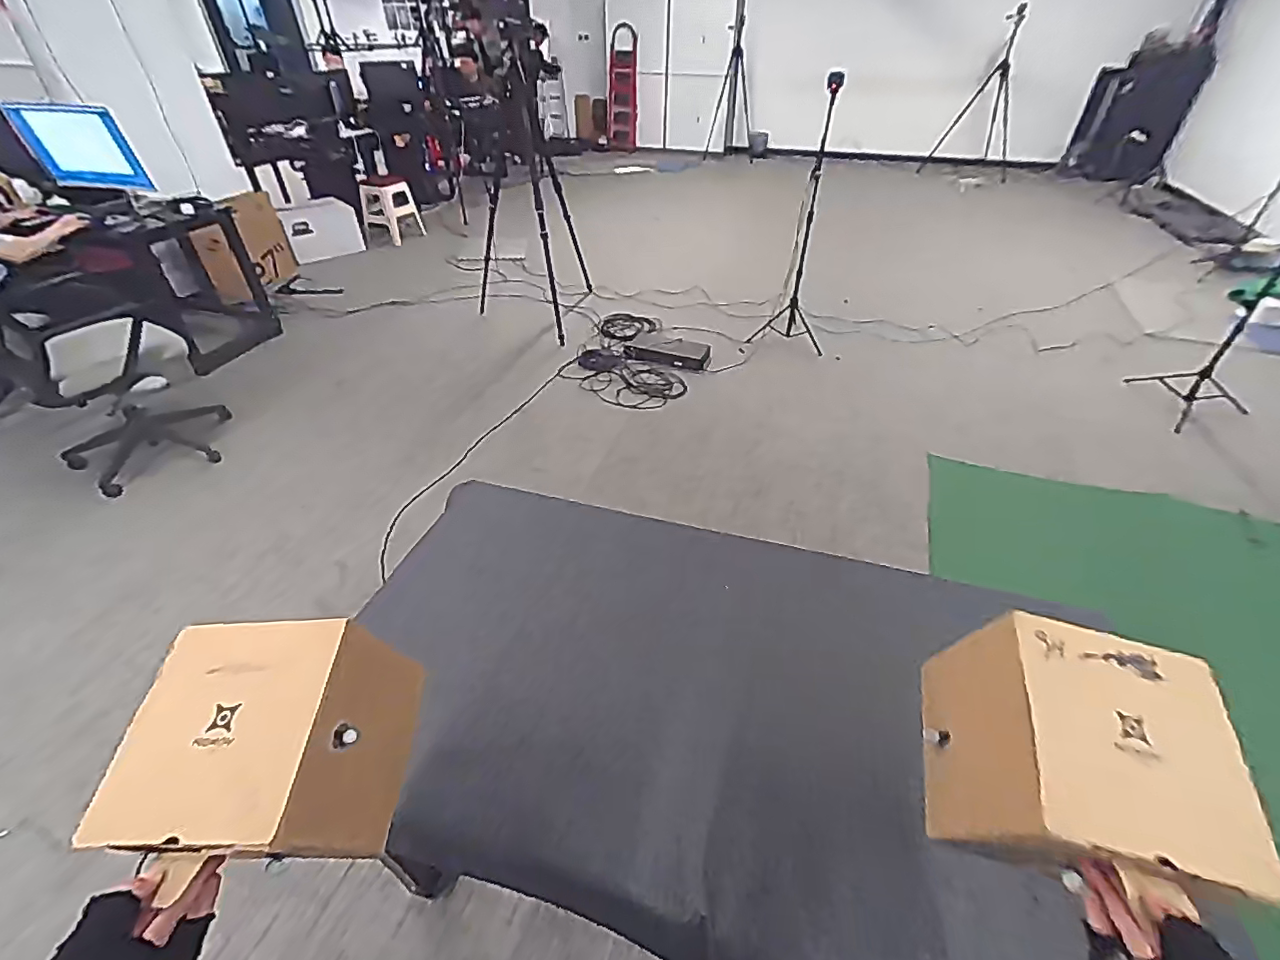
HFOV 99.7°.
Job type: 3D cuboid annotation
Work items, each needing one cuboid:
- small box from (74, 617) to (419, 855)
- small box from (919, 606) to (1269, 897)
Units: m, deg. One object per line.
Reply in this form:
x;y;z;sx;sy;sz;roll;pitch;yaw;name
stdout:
-0.333;0.245;0.508;0.168;0.176;0.179;-4;53;4;small box
0.378;0.246;0.497;0.168;0.176;0.179;15;56;5;small box
